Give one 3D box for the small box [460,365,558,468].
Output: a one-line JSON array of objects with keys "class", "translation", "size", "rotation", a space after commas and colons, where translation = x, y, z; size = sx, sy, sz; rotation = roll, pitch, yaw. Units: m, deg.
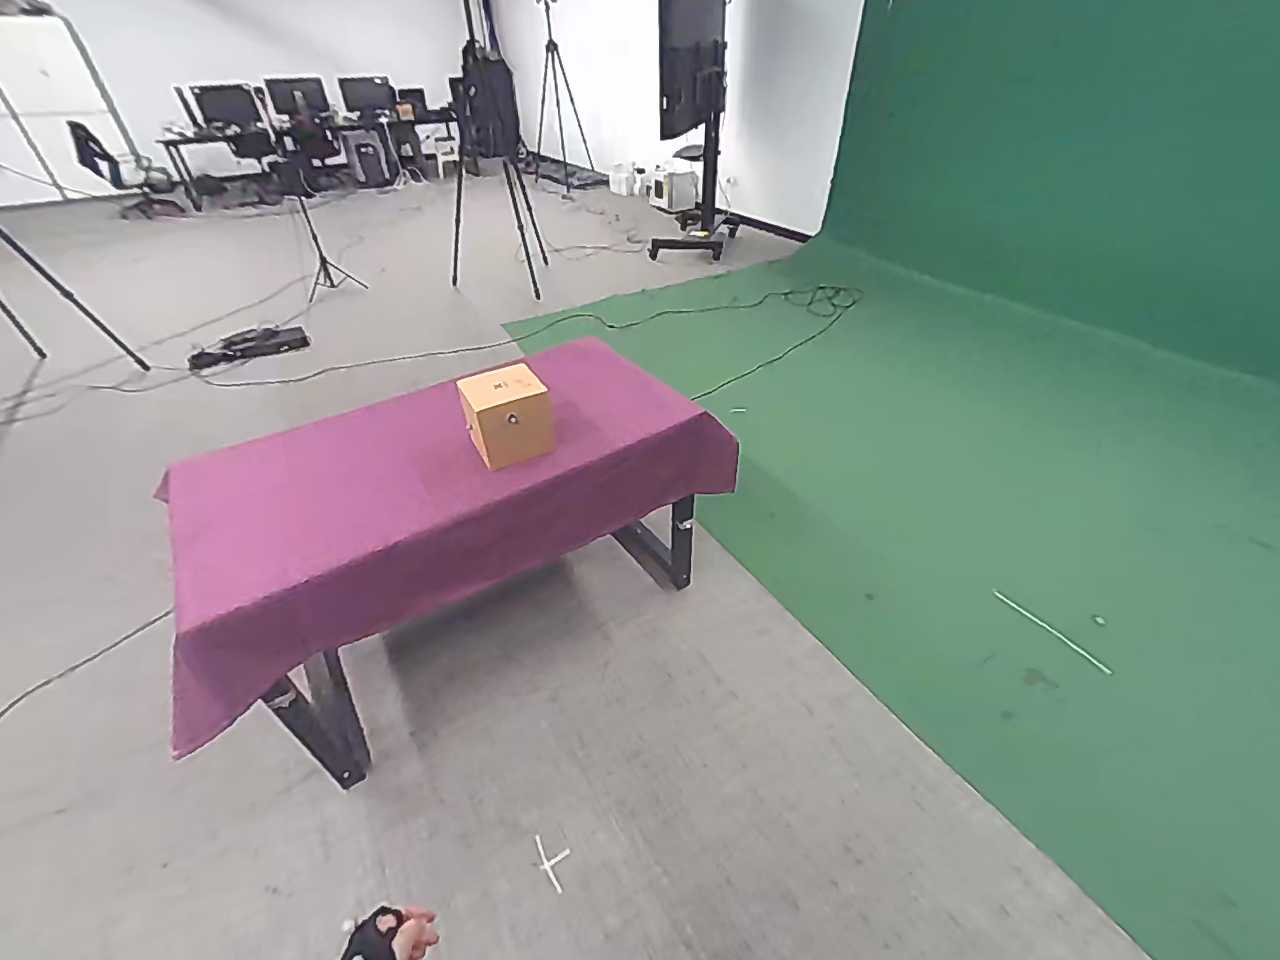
[{"class": "small box", "translation": [-0.316, -0.154, 1.321], "size": [0.179, 0.176, 0.168], "rotation": [-21, 43, -21]}]
